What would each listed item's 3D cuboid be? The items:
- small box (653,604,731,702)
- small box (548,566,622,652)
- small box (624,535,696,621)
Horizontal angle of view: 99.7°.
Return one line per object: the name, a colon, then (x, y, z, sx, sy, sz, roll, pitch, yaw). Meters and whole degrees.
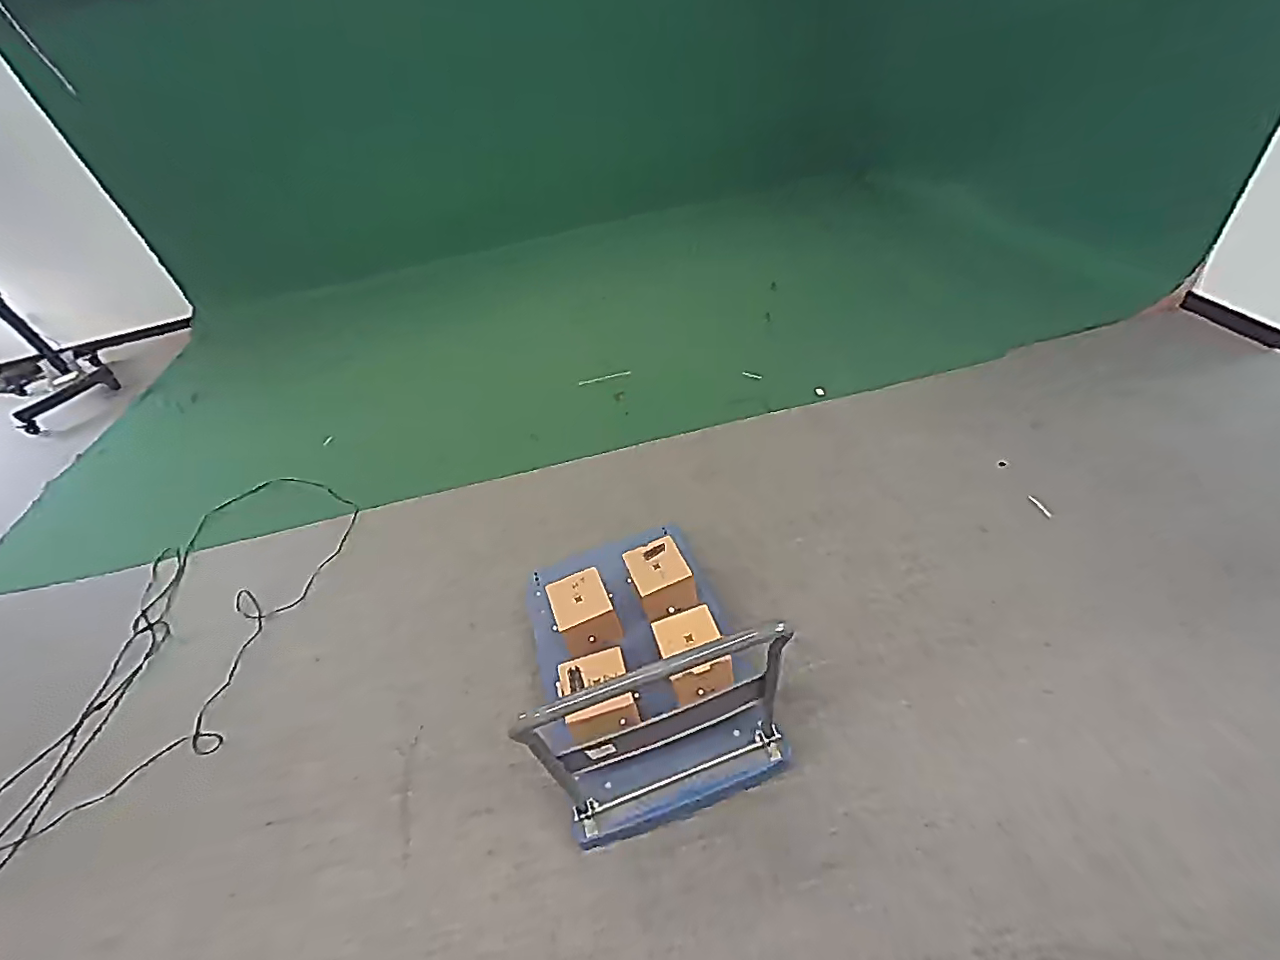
small box: (0.146, 0.483, 1.508, 0.168, 0.176, 0.179, -18, 44, -6)
small box: (-0.167, 0.404, 1.661, 0.168, 0.176, 0.179, -21, 44, -10)
small box: (0.064, 0.312, 1.702, 0.168, 0.176, 0.179, -22, 45, -8)
